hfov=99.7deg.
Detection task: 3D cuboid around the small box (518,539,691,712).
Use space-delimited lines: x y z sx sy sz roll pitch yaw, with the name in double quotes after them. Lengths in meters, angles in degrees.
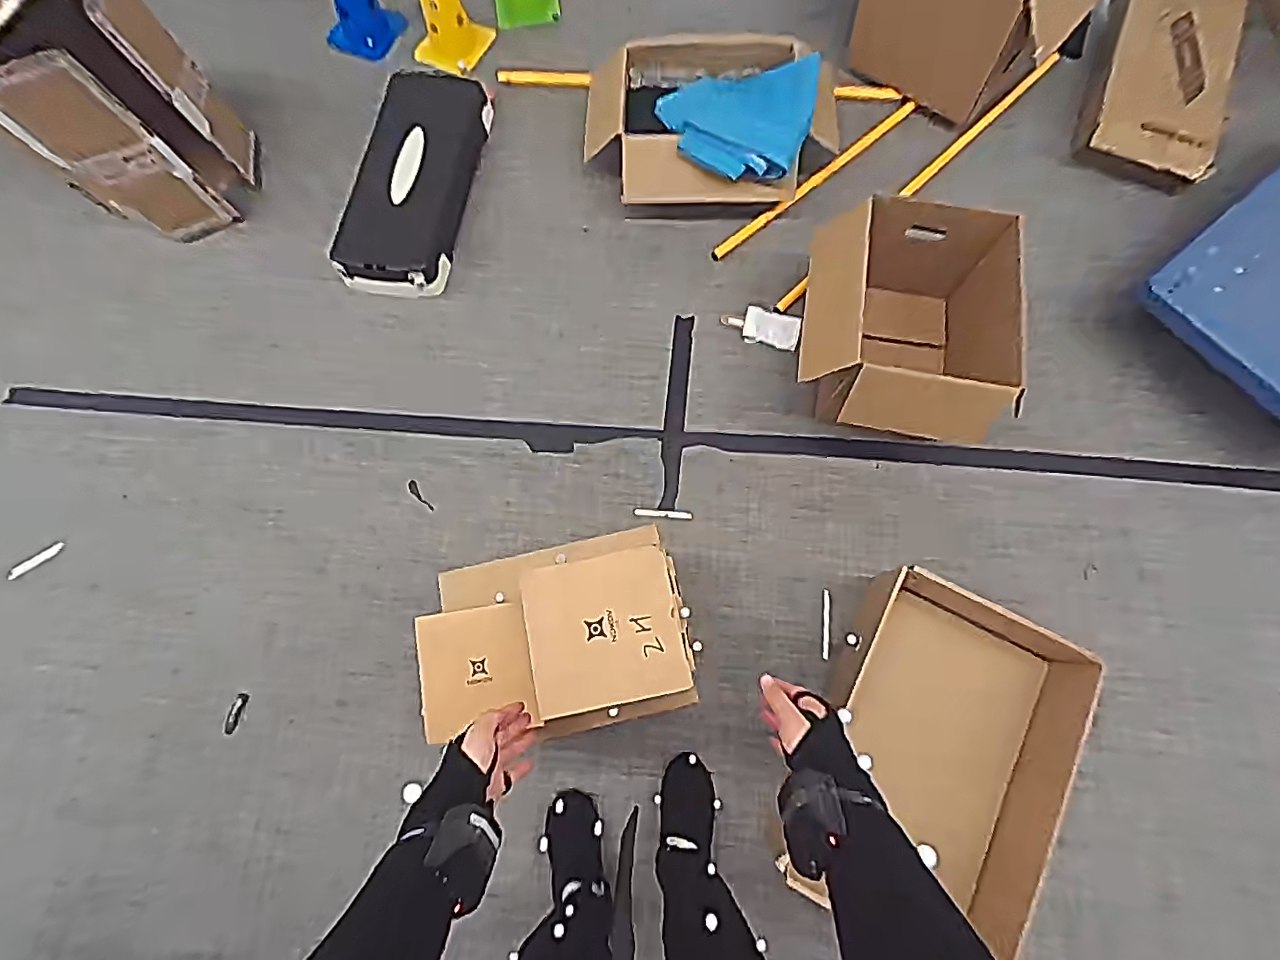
-0.038 0.180 0.681 0.179 0.176 0.168 -12 76 0 "small box"
